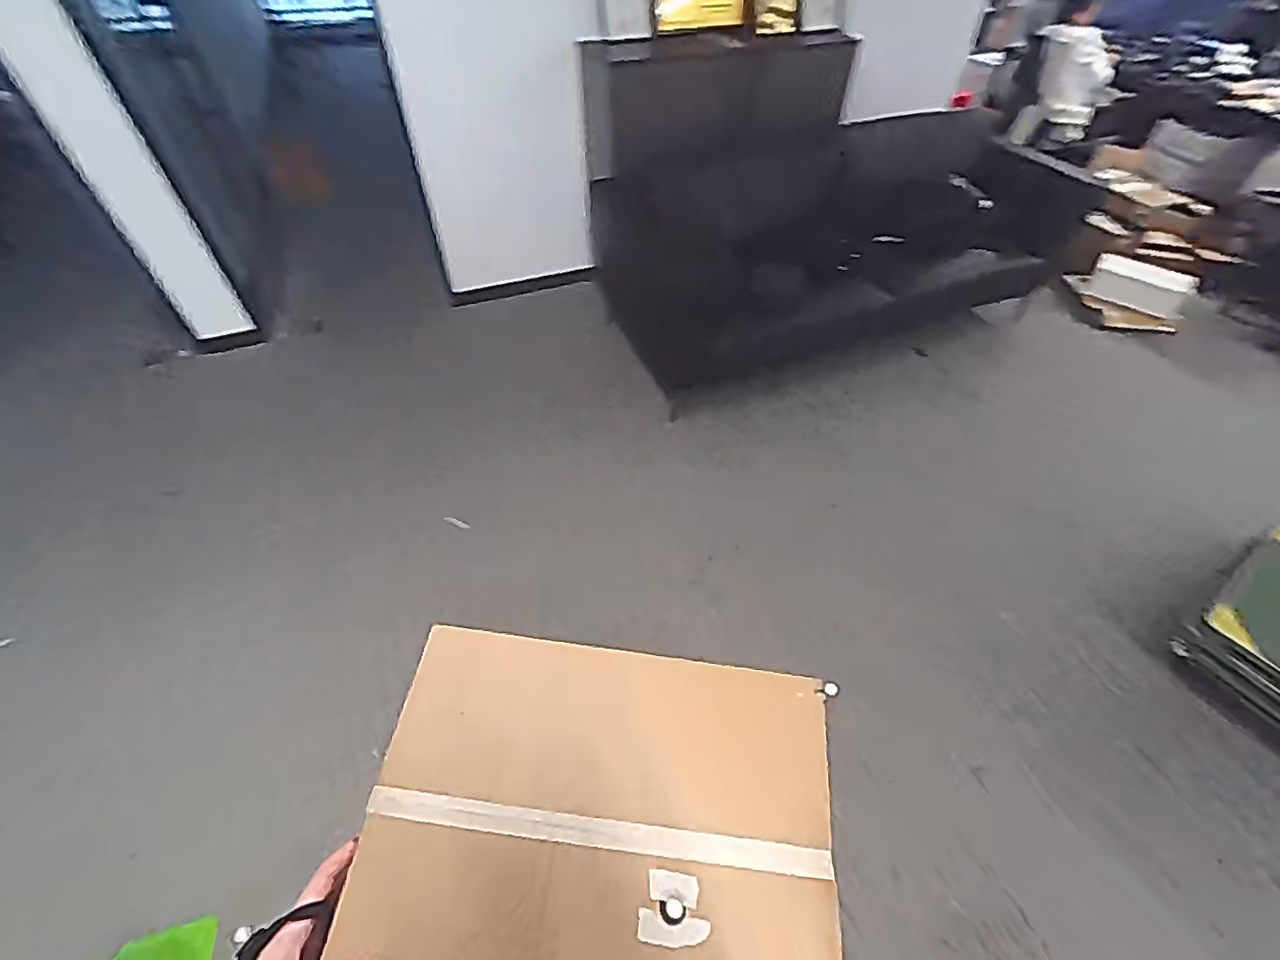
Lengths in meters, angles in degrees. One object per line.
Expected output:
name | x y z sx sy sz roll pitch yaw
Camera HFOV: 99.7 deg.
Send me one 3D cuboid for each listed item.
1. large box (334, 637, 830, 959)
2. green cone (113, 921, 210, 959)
large box | -0.046 0.393 0.605 0.408 0.320 0.320 7 58 0
green cone | -1.052 0.986 1.036 0.202 0.368 0.200 -12 50 -10
